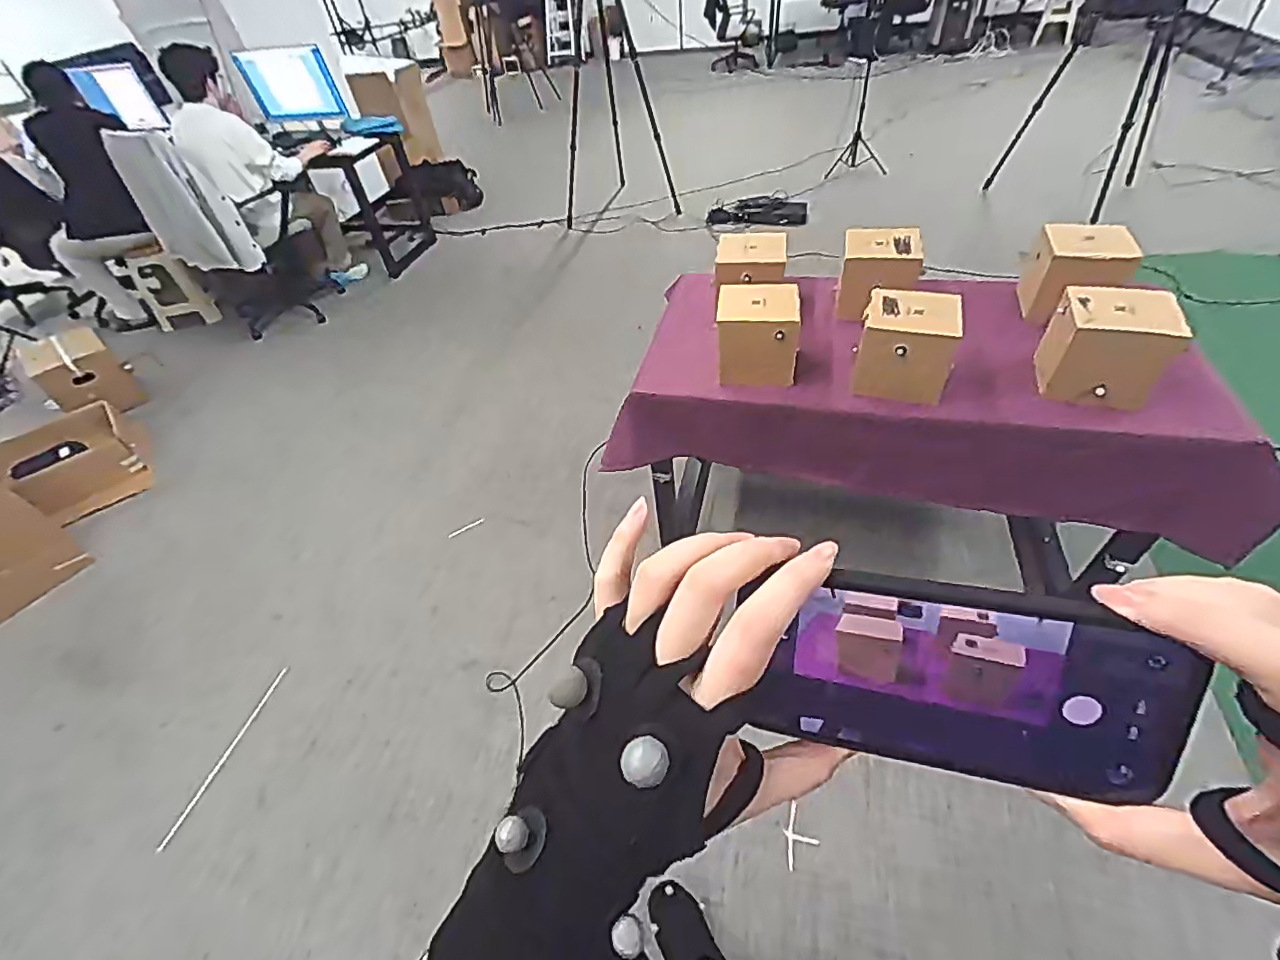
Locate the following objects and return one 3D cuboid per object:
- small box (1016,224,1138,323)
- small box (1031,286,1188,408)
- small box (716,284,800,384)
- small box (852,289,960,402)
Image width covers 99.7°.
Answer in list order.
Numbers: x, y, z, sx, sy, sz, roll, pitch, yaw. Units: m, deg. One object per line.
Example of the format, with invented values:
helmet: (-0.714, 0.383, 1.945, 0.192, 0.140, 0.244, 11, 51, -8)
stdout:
small box: (1.026, -0.488, 1.289, 0.168, 0.176, 0.179, 10, 49, 17)
small box: (0.929, -0.266, 1.090, 0.179, 0.176, 0.168, 13, 49, 19)
small box: (0.268, -0.335, 1.247, 0.179, 0.176, 0.168, 4, 47, 10)
small box: (0.565, -0.287, 1.160, 0.179, 0.176, 0.168, 12, 49, 18)
